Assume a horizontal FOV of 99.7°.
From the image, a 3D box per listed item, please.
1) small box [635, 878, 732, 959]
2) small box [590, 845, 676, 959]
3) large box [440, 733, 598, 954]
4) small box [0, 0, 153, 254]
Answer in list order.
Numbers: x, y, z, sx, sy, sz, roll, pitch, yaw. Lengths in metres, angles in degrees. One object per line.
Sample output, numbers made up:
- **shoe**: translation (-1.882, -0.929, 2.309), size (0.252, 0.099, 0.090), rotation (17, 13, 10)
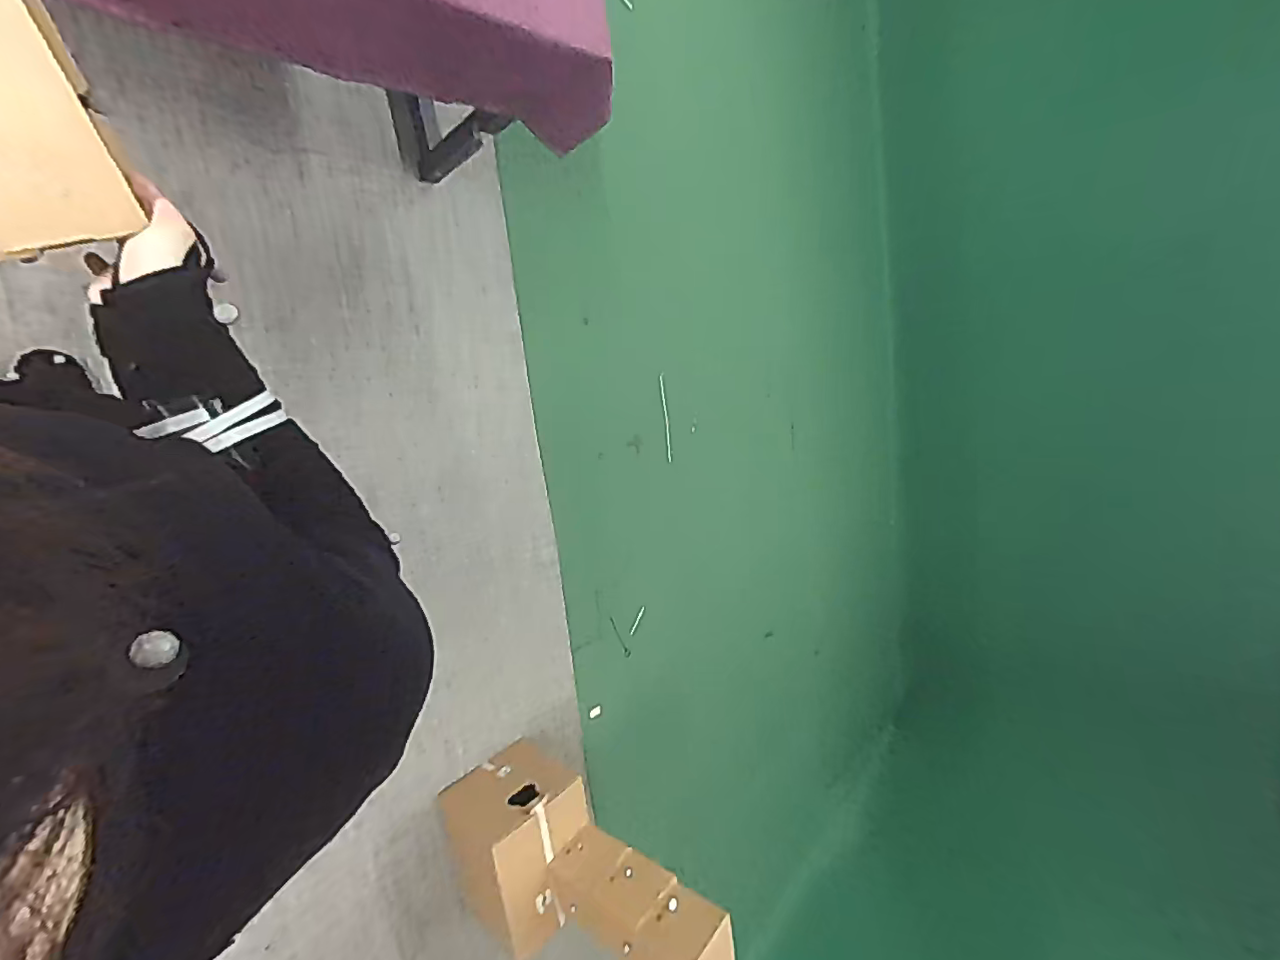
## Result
- **small box**: translation (0.108, 1.148, 1.338), size (0.168, 0.176, 0.179), rotation (-17, 103, -47)
- **small box**: translation (-0.012, 1.135, 1.448), size (0.168, 0.176, 0.179), rotation (-20, 106, -46)
- **large box**: translation (-0.370, 1.082, 1.661), size (0.320, 0.320, 0.408), rotation (-19, 106, -44)
- **small box**: translation (-0.441, -0.244, 0.326), size (0.168, 0.176, 0.179), rotation (-28, 135, -26)
